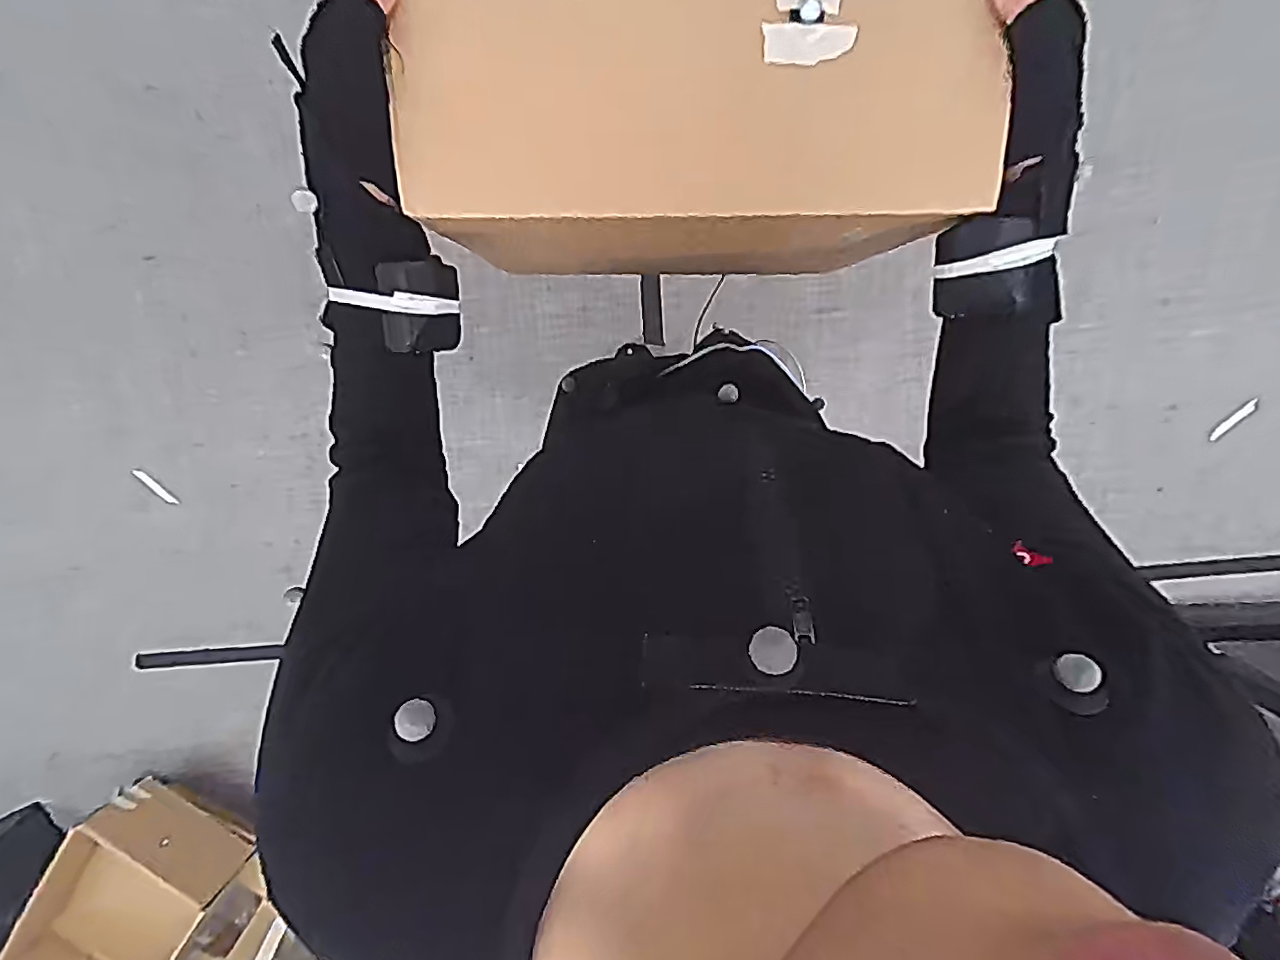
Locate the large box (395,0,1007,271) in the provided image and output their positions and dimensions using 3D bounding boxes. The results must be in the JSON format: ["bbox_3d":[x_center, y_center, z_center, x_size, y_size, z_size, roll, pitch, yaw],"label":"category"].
[{"bbox_3d":[0.036,-0.375,0.485,0.408,0.320,0.320,-1,105,-1],"label":"large box"}]
